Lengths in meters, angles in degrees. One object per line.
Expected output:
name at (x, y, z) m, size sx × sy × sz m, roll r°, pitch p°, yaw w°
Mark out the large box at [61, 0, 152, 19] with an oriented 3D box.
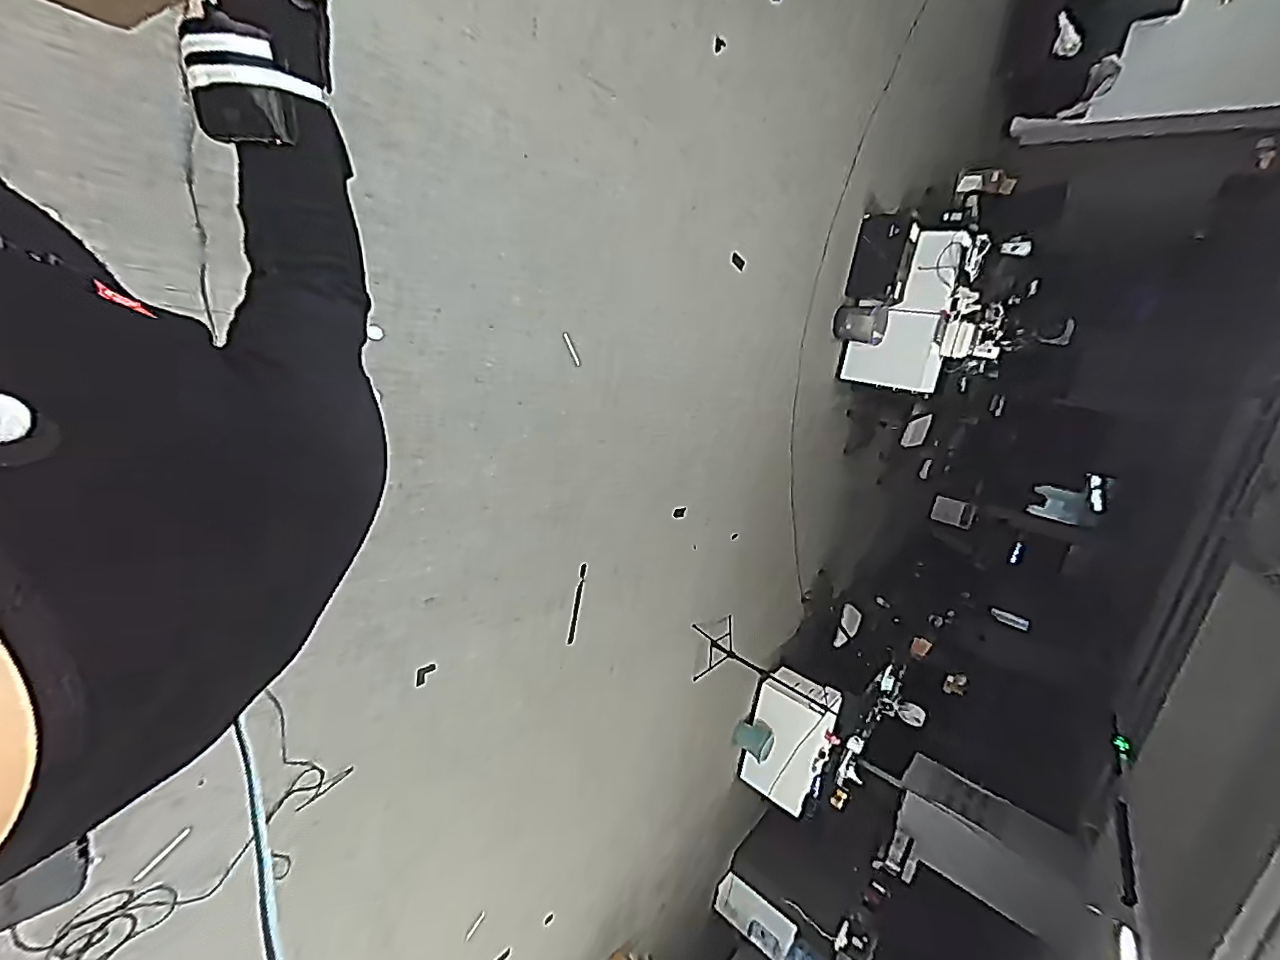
large box at (-0.461, -0.486, 0.219) m, size 0.408 × 0.320 × 0.320 m, roll -11°, pitch 120°, yaw -50°
